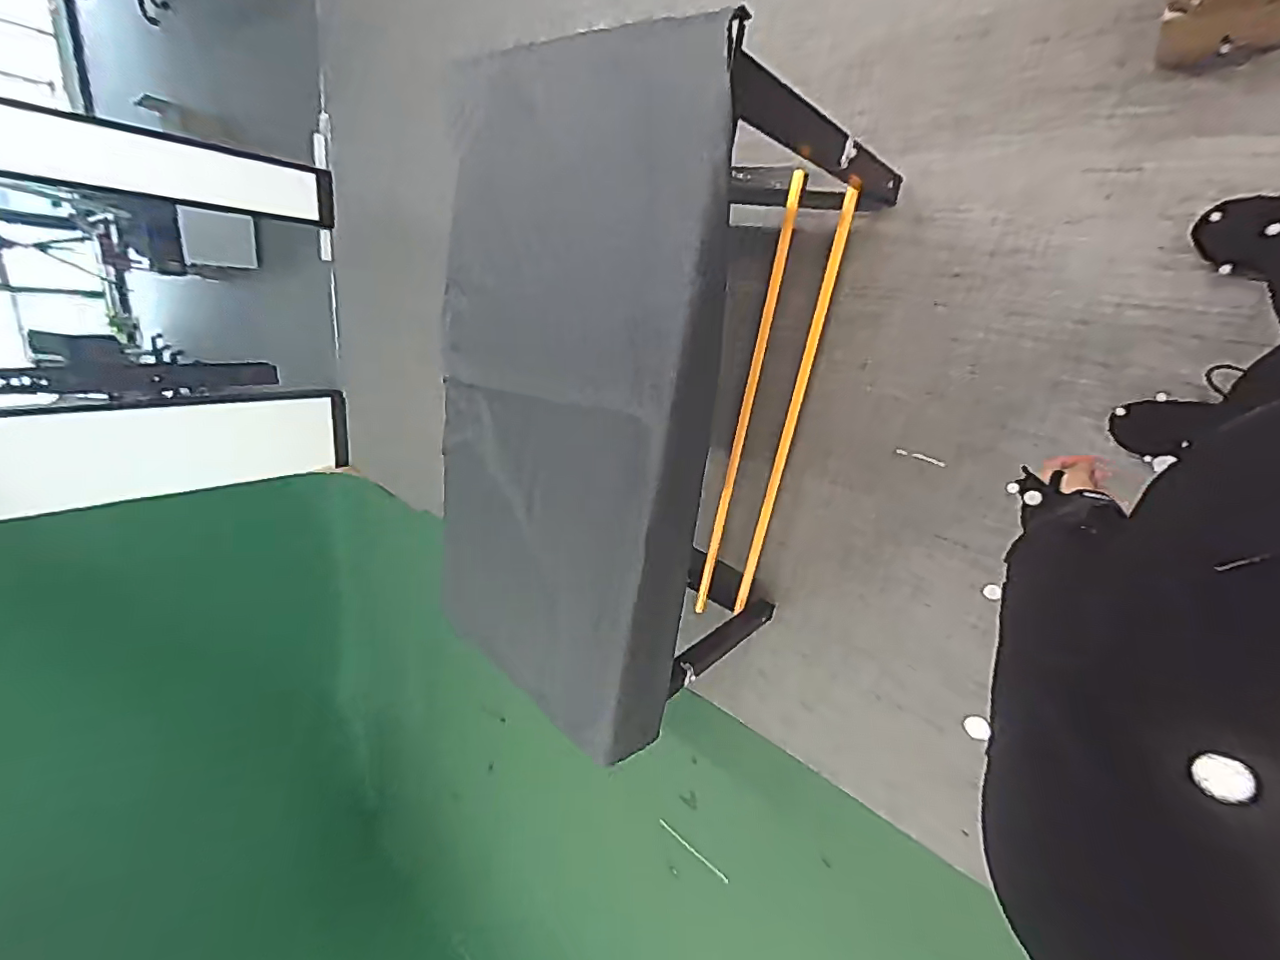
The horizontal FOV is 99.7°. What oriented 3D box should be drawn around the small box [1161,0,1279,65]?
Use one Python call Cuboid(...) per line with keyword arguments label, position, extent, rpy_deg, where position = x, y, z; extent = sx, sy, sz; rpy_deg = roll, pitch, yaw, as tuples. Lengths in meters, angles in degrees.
Cuboid(label="small box", position=(0.892, -0.751, 0.784), extent=(0.168, 0.176, 0.179), rpy_deg=(18, 112, 38))
